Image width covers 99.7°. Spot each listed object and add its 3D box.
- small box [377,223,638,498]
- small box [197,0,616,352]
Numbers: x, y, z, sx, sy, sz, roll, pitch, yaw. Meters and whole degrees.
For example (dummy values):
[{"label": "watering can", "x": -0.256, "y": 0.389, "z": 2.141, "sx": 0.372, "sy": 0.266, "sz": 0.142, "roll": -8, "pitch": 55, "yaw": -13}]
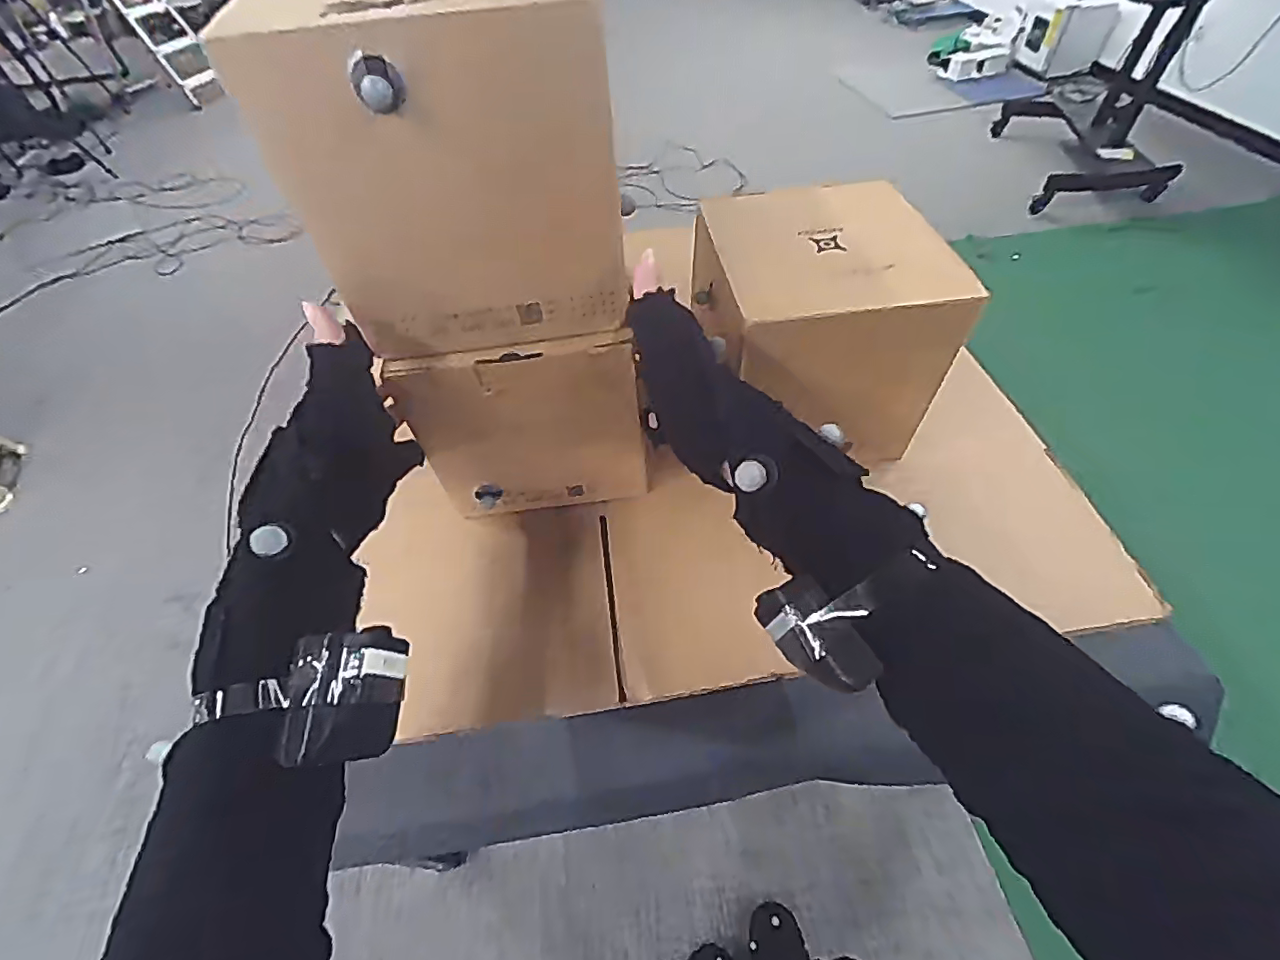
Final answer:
[{"label": "small box", "x": -0.094, "y": -0.098, "z": 0.463, "sx": 0.168, "sy": 0.176, "sz": 0.179, "roll": -7, "pitch": 52, "yaw": -1}, {"label": "small box", "x": -0.109, "y": -0.206, "z": 0.340, "sx": 0.168, "sy": 0.176, "sz": 0.179, "roll": -8, "pitch": 52, "yaw": -2}]
